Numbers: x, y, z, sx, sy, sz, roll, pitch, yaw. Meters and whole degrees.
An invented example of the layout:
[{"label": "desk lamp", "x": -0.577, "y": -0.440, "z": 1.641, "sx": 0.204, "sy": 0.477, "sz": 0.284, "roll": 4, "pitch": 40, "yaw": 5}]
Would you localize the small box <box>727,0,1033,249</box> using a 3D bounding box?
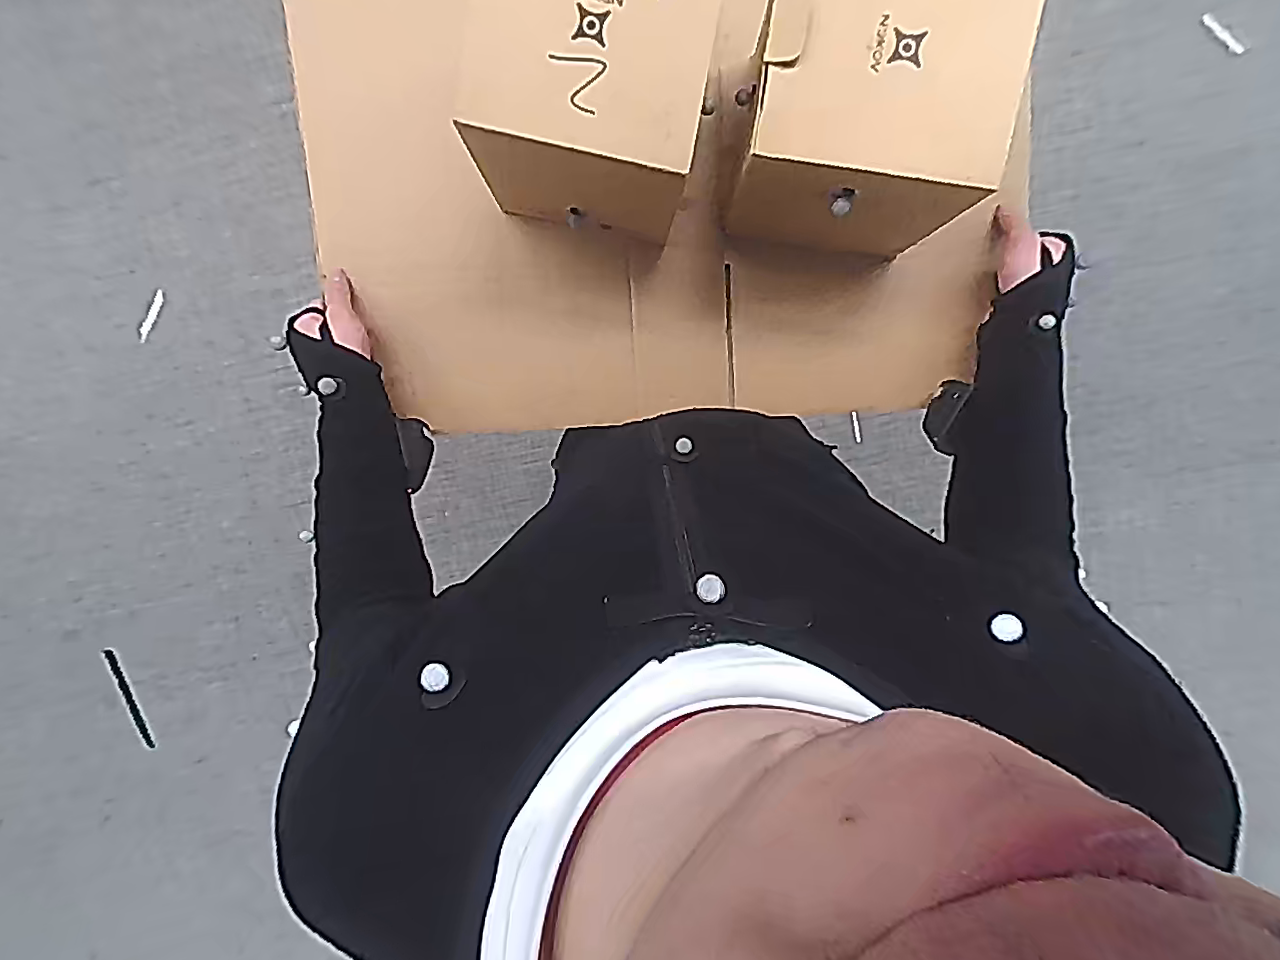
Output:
[{"label": "small box", "x": 0.180, "y": -0.309, "z": 0.457, "sx": 0.179, "sy": 0.176, "sz": 0.168, "roll": 9, "pitch": 98, "yaw": 2}]
